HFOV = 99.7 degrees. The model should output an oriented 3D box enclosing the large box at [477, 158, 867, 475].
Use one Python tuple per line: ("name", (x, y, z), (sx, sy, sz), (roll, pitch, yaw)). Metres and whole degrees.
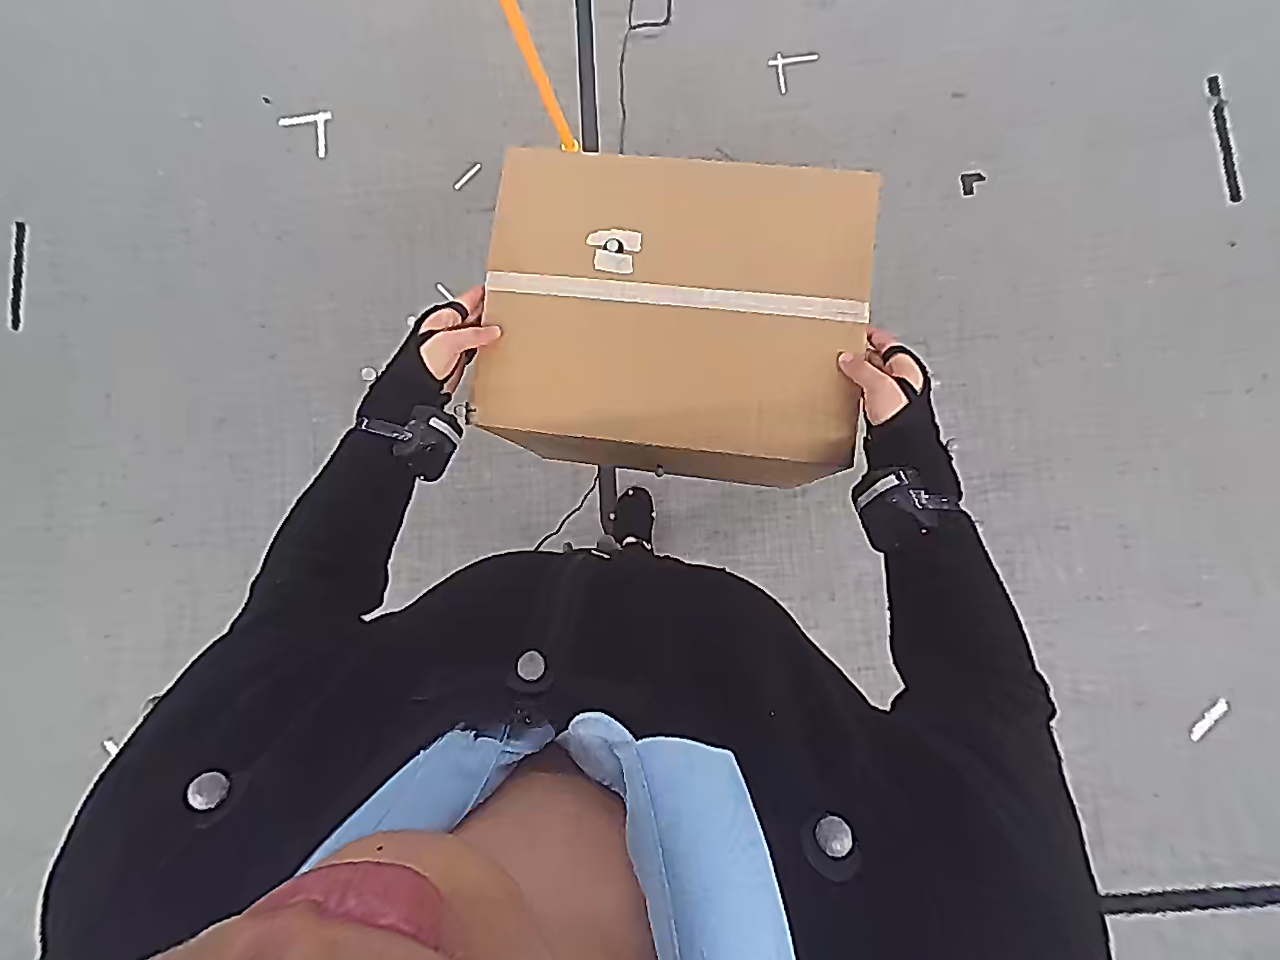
("large box", (0.046, -0.184, 0.731), (0.408, 0.320, 0.320), (6, 85, 5))
